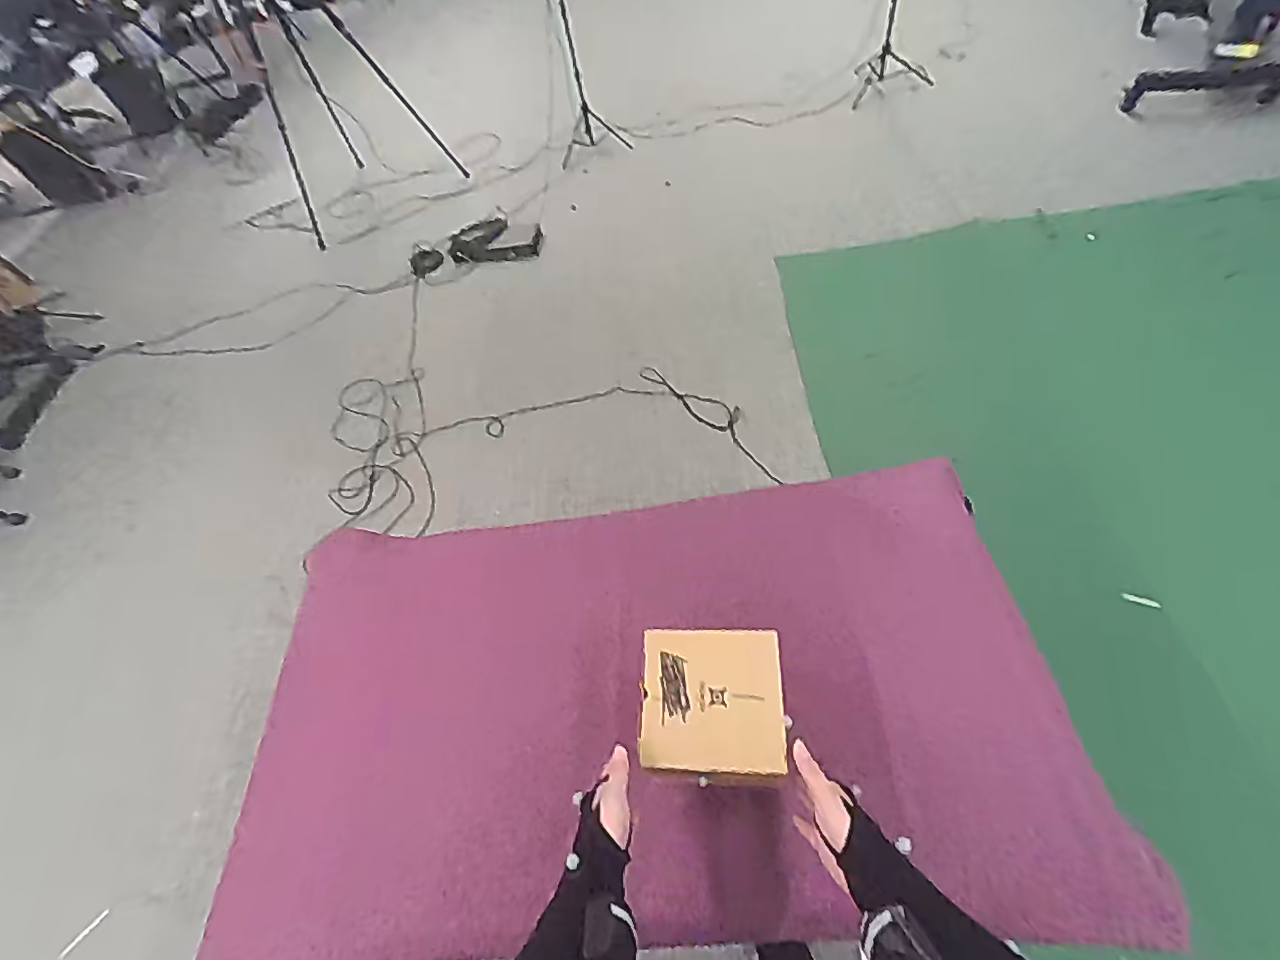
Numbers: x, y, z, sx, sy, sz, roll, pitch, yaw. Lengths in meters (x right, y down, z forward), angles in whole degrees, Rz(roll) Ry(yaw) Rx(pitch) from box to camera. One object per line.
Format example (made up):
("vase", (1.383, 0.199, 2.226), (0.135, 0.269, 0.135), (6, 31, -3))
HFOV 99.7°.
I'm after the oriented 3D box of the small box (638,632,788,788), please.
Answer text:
("small box", (0.101, 0.314, 0.732), (0.179, 0.176, 0.168), (-2, 56, 9))
